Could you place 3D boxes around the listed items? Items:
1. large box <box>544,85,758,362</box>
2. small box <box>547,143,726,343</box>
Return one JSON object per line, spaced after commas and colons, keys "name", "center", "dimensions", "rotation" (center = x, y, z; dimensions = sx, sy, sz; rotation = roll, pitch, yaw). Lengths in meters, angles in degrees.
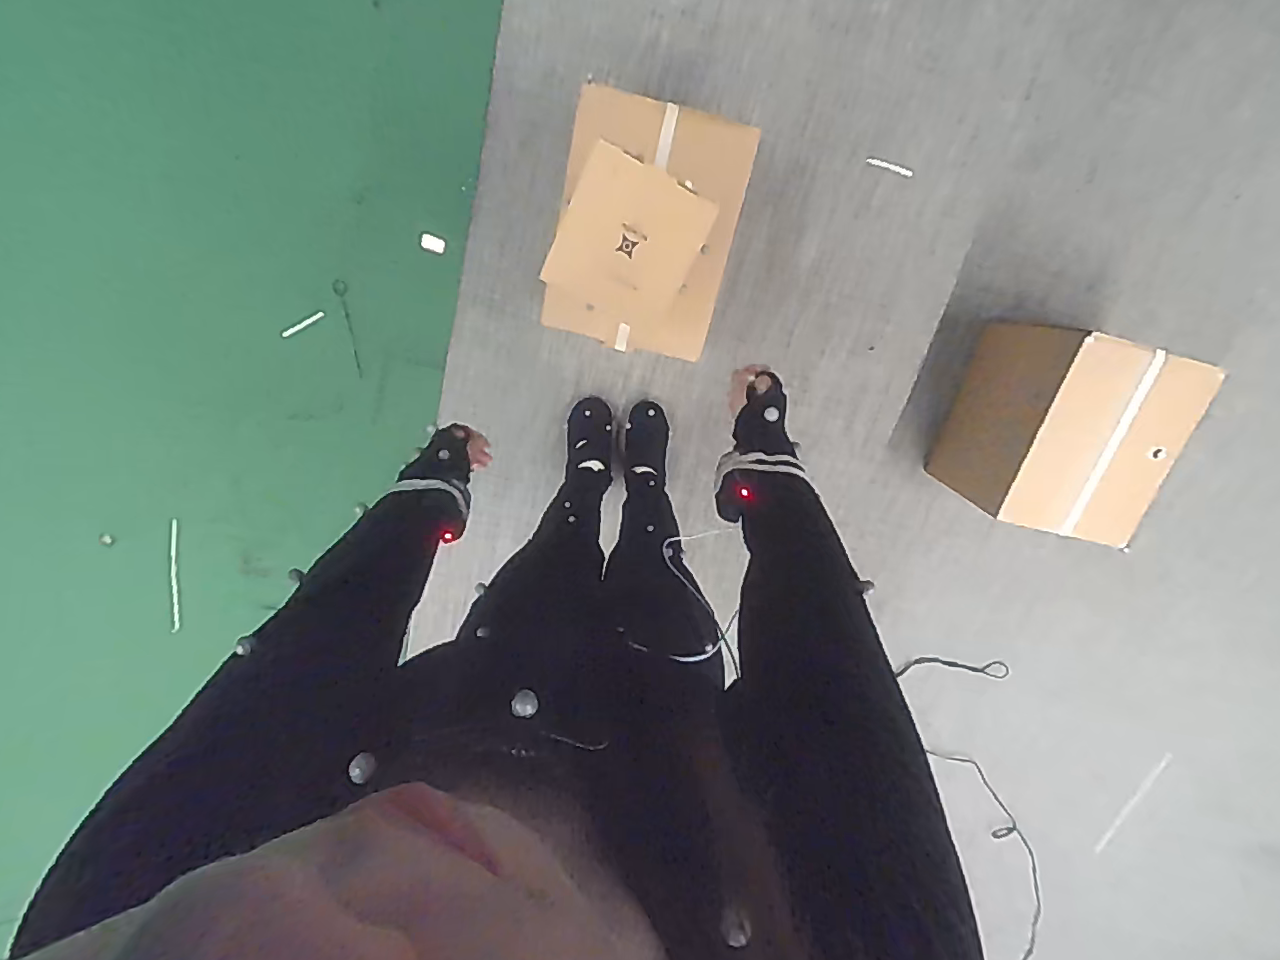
{"name": "large box", "center": [0.010, -0.485, 1.104], "dimensions": [0.320, 0.320, 0.408], "rotation": [13, 108, -5]}
{"name": "small box", "center": [-0.008, -0.311, 0.735], "dimensions": [0.168, 0.176, 0.179], "rotation": [27, 109, -9]}
